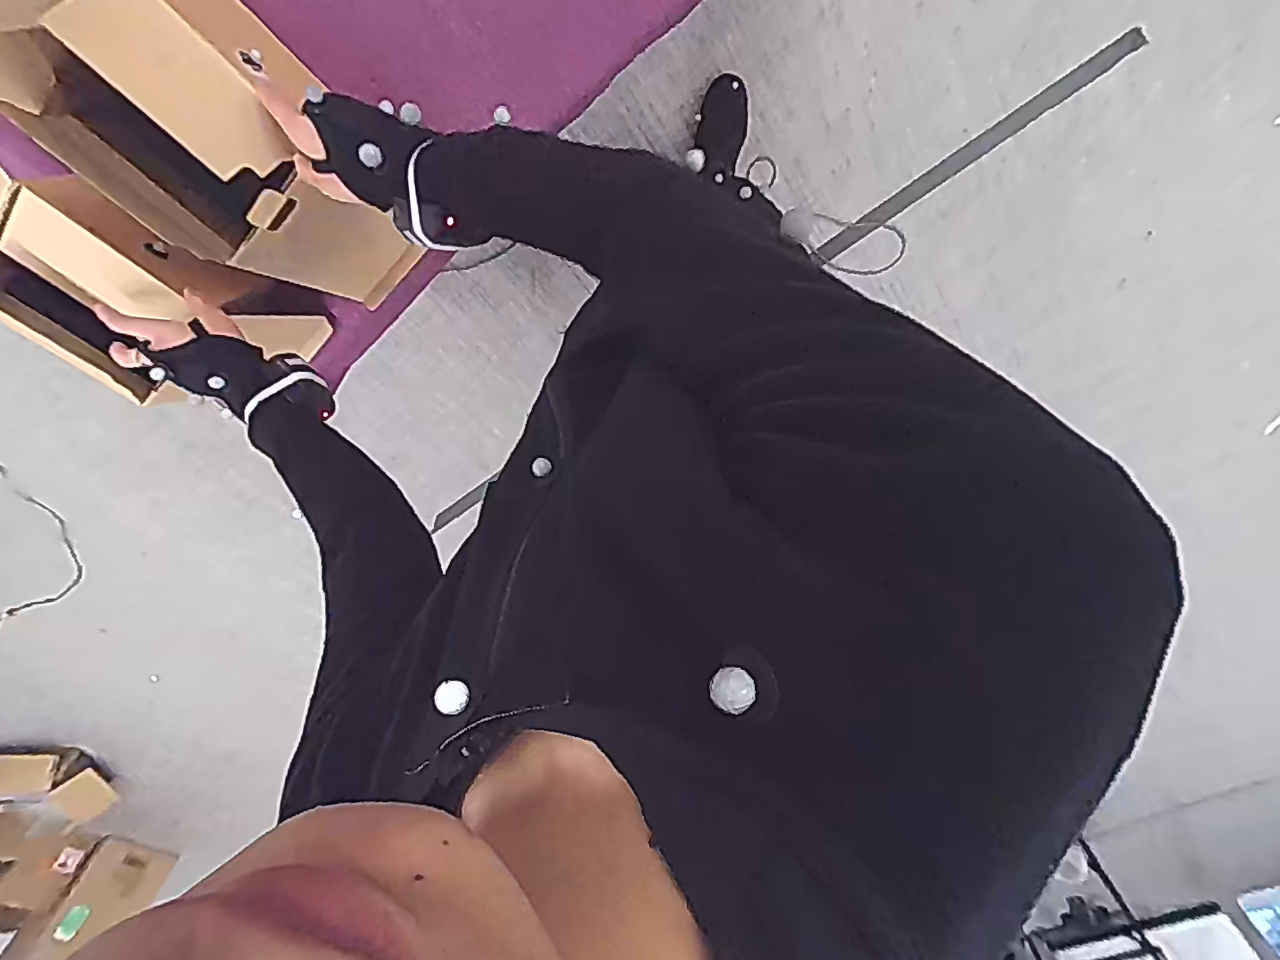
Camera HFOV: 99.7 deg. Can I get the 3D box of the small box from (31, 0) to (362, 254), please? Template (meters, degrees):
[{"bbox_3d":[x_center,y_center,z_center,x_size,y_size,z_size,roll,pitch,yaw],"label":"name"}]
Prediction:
[{"bbox_3d":[-0.428,-0.374,0.556,0.168,0.176,0.179,-36,119,20],"label":"small box"}]
